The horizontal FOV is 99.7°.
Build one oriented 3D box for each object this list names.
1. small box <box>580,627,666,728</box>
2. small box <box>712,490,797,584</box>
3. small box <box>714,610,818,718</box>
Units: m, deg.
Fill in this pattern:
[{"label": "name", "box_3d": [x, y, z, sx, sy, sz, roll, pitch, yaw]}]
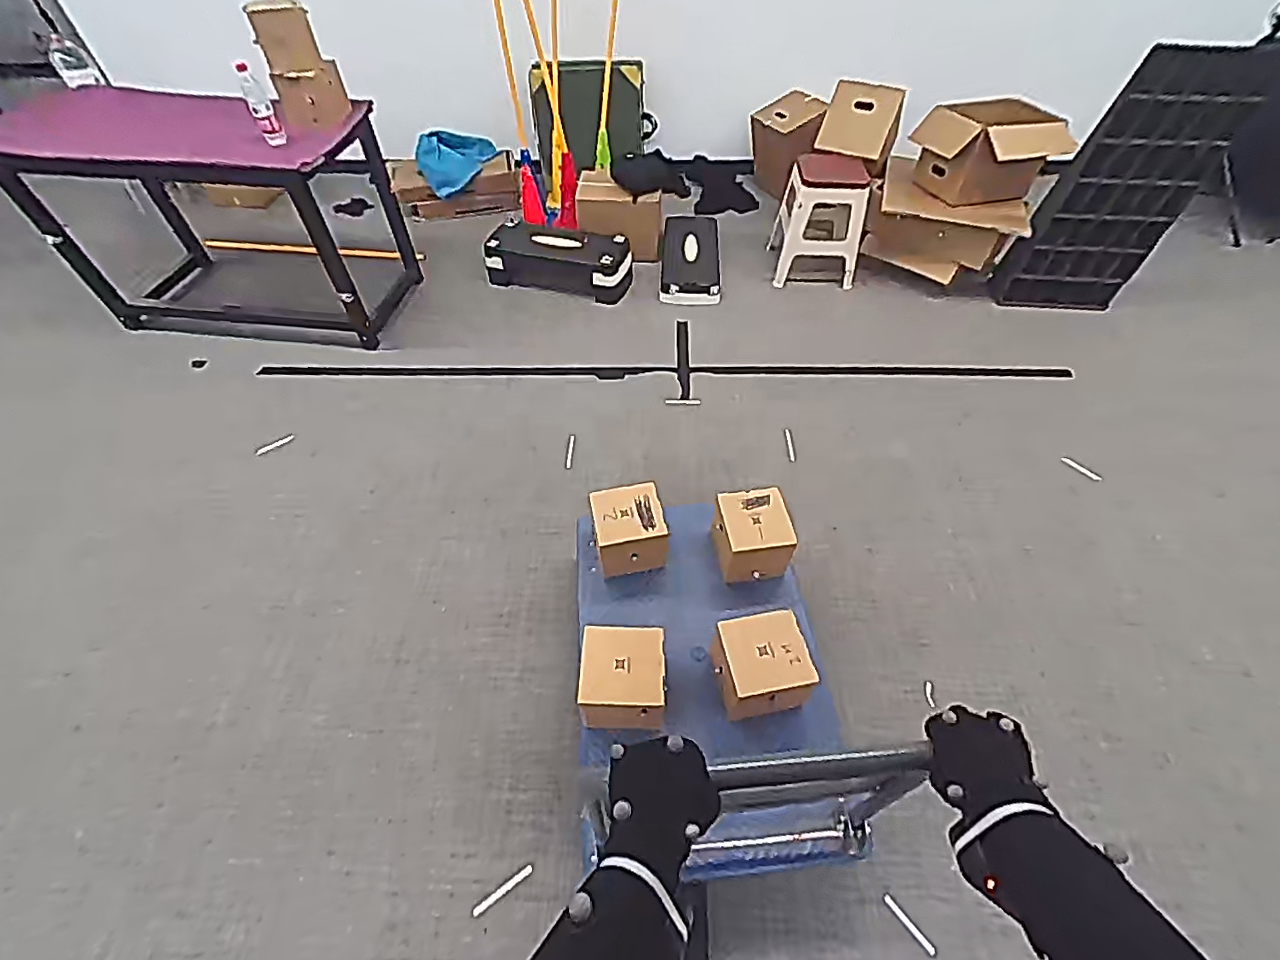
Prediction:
[{"label": "small box", "box_3d": [-0.033, 0.439, 1.195, 0.179, 0.176, 0.168, 2, 51, 0]}, {"label": "small box", "box_3d": [0.292, 0.151, 1.423, 0.168, 0.176, 0.179, -6, 53, -5]}, {"label": "small box", "box_3d": [0.270, 0.416, 1.212, 0.179, 0.176, 0.168, -8, 52, -6]}]
